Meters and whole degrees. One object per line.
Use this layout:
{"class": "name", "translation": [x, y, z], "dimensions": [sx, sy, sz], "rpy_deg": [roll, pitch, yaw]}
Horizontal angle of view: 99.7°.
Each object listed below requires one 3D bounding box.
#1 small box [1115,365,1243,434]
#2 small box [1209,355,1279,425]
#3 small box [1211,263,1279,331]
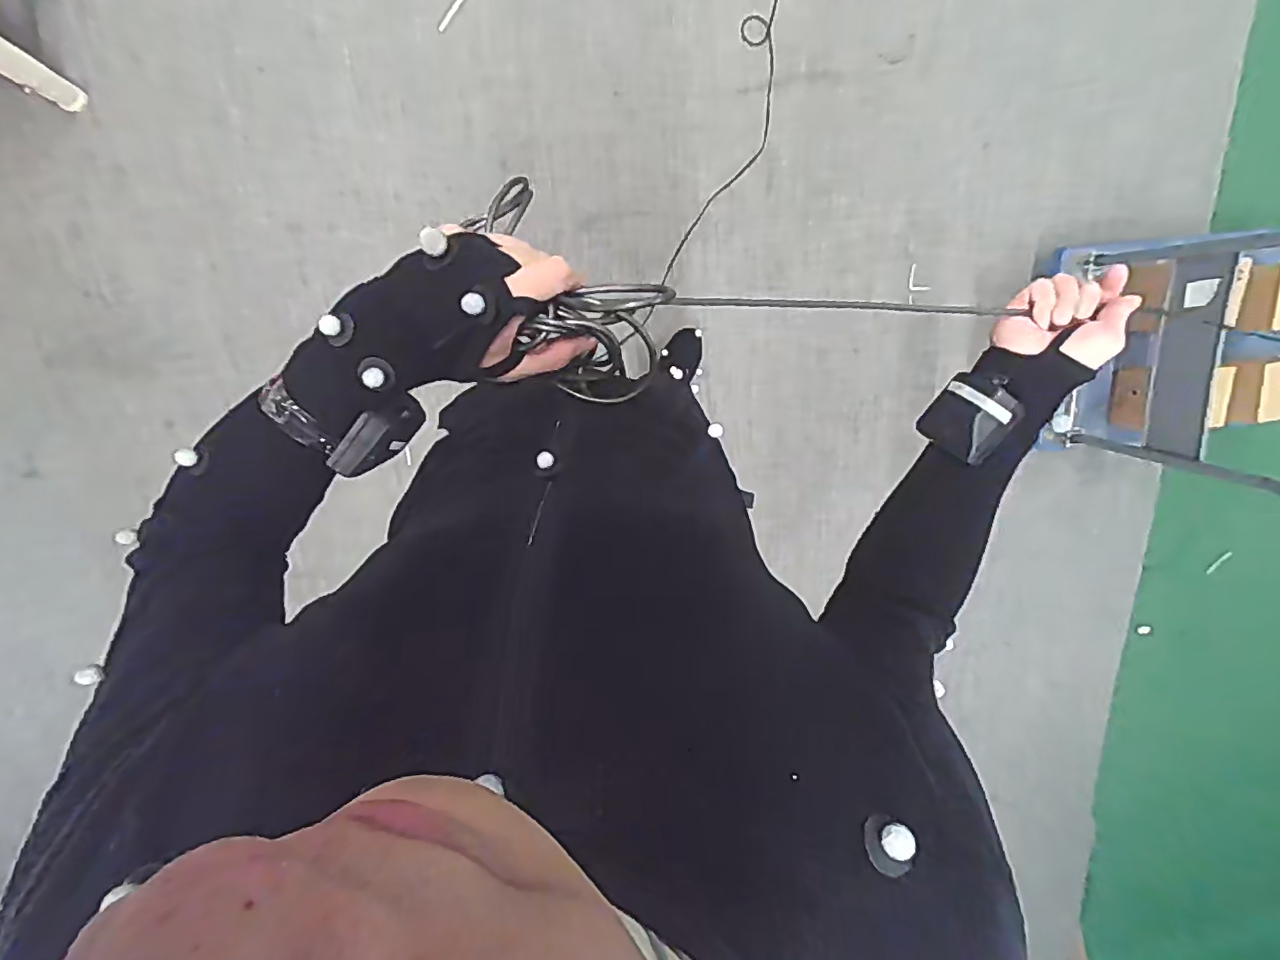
{"class": "small box", "translation": [1.497, -0.229, 1.511], "dimensions": [0.179, 0.176, 0.168], "rpy_deg": [-6, 105, -5]}
{"class": "small box", "translation": [1.765, -0.260, 1.535], "dimensions": [0.179, 0.176, 0.168], "rpy_deg": [-10, 105, -3]}
{"class": "small box", "translation": [1.724, -0.499, 1.467], "dimensions": [0.179, 0.176, 0.168], "rpy_deg": [-10, 107, -4]}
